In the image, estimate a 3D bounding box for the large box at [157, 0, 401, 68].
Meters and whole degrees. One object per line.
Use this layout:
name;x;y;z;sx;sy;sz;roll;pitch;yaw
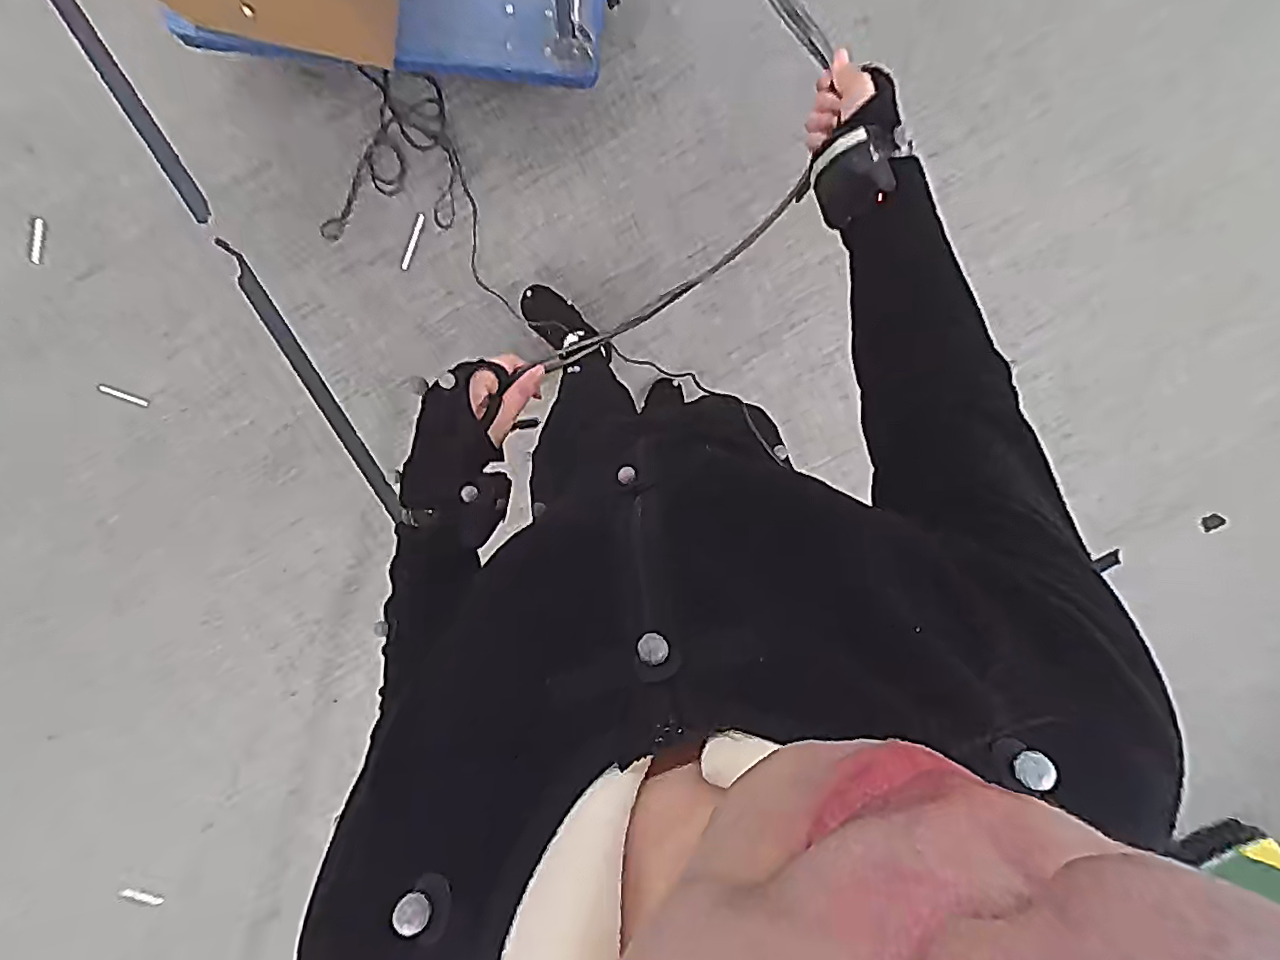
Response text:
large box;-0.666;-0.982;0.923;0.408;0.320;0.320;9;101;-3
